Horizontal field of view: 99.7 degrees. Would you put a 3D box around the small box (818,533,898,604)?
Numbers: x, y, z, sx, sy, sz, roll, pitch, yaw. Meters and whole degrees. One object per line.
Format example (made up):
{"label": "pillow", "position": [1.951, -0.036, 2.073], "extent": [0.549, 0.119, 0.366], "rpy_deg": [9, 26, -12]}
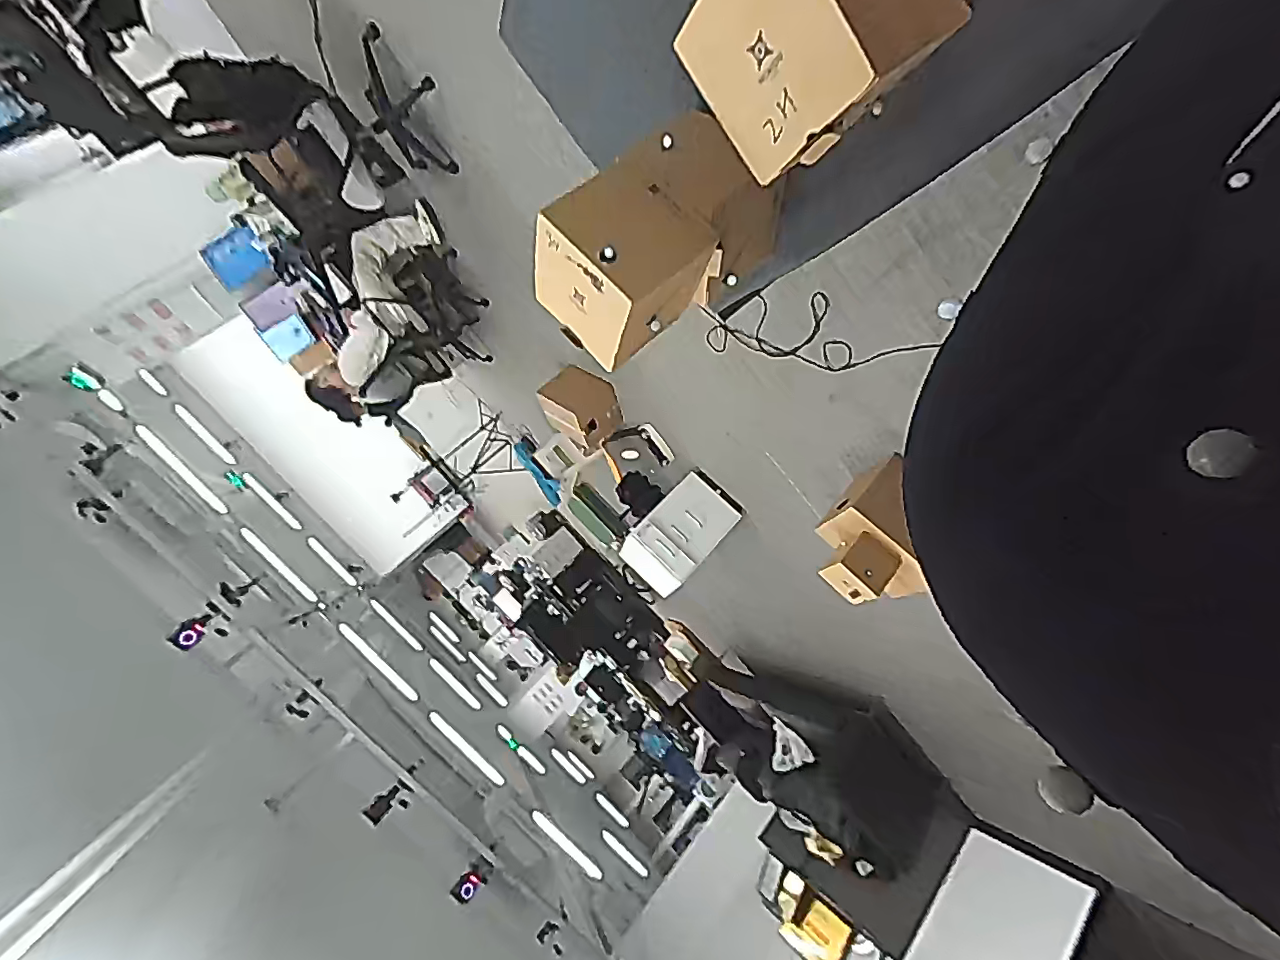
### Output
{"label": "small box", "position": [0.795, 0.321, 1.968], "extent": [0.179, 0.176, 0.168], "rpy_deg": [43, 157, 8]}

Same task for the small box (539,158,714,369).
{"label": "small box", "position": [-0.023, -0.296, 0.755], "extent": [0.168, 0.176, 0.179], "rpy_deg": [45, 160, 5]}

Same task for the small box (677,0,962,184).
{"label": "small box", "position": [0.177, -0.453, 0.547], "extent": [0.179, 0.176, 0.168], "rpy_deg": [52, 160, -12]}
